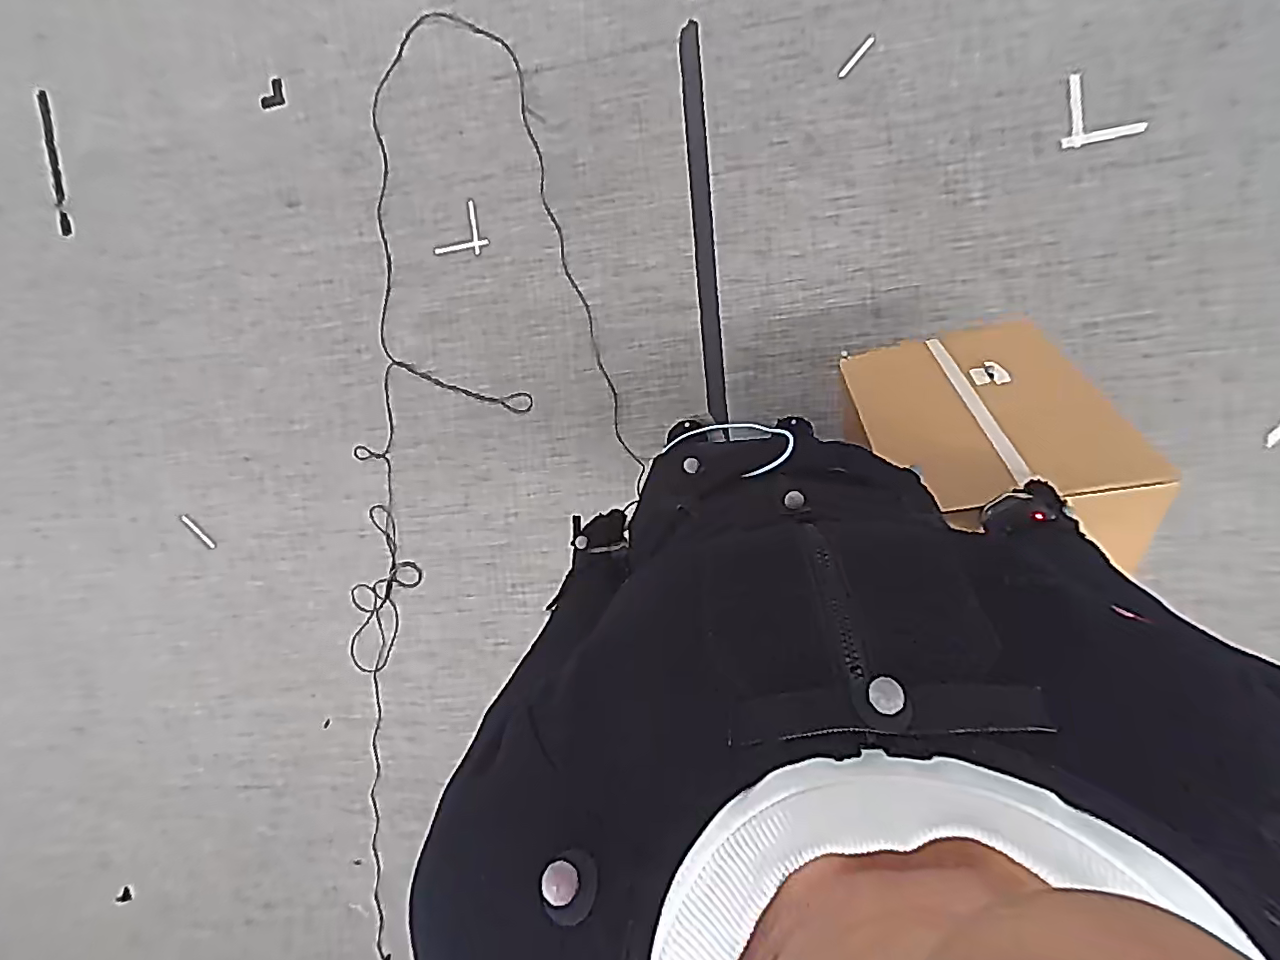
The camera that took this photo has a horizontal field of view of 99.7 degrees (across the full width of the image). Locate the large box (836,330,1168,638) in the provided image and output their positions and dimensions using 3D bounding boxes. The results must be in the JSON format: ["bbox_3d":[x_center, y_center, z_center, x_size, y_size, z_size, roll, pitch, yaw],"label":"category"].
[{"bbox_3d":[0.544,0.002,0.923,0.320,0.408,0.320,-9,130,12],"label":"large box"}]
